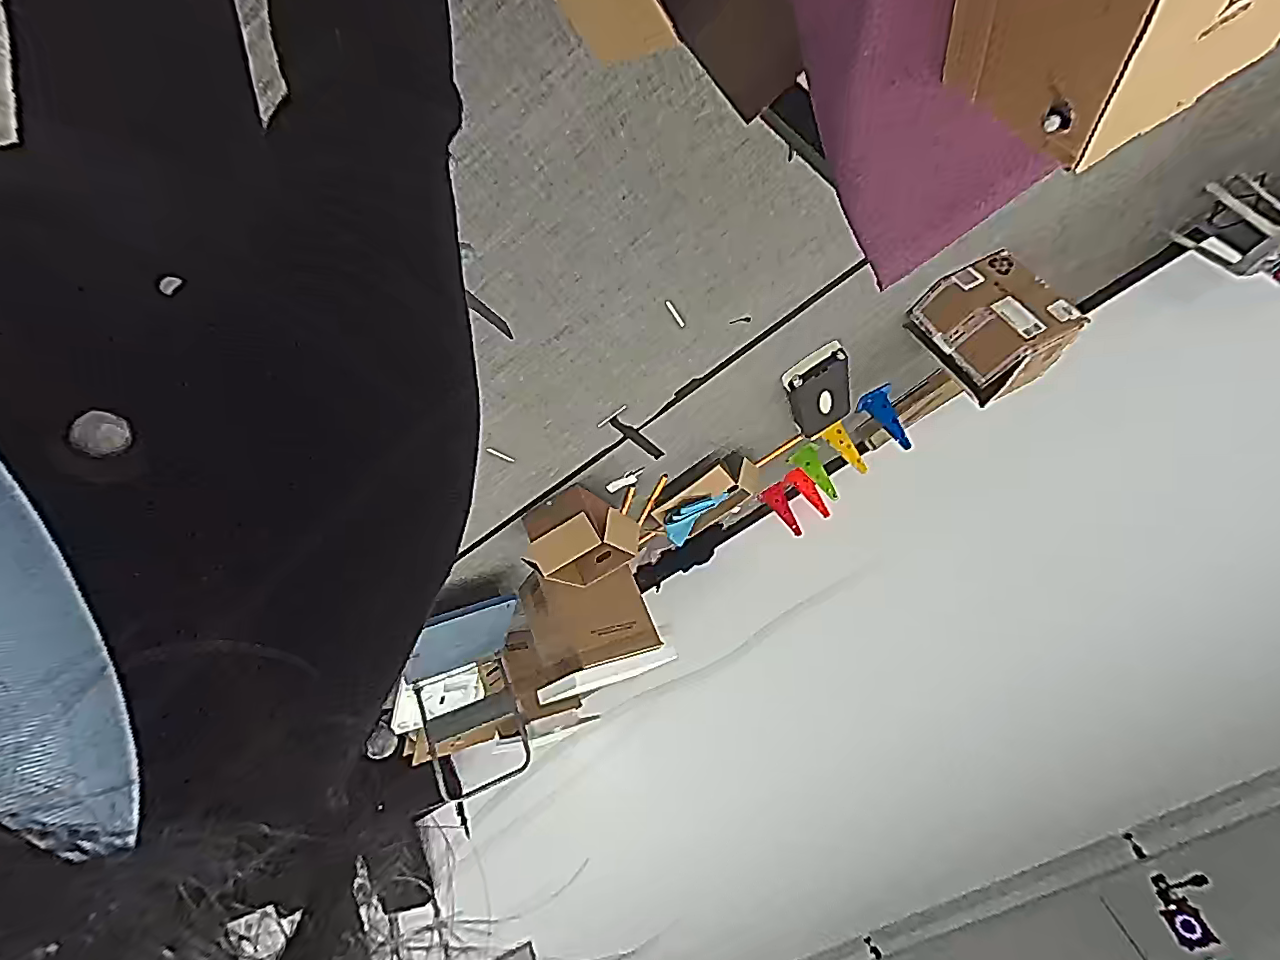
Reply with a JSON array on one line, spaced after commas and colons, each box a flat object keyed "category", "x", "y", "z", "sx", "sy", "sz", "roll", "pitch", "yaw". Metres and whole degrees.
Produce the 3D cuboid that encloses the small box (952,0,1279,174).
[{"category": "small box", "x": 0.363, "y": -0.381, "z": 0.392, "sx": 0.168, "sy": 0.176, "sz": 0.179, "roll": -32, "pitch": 155, "yaw": 8}]
